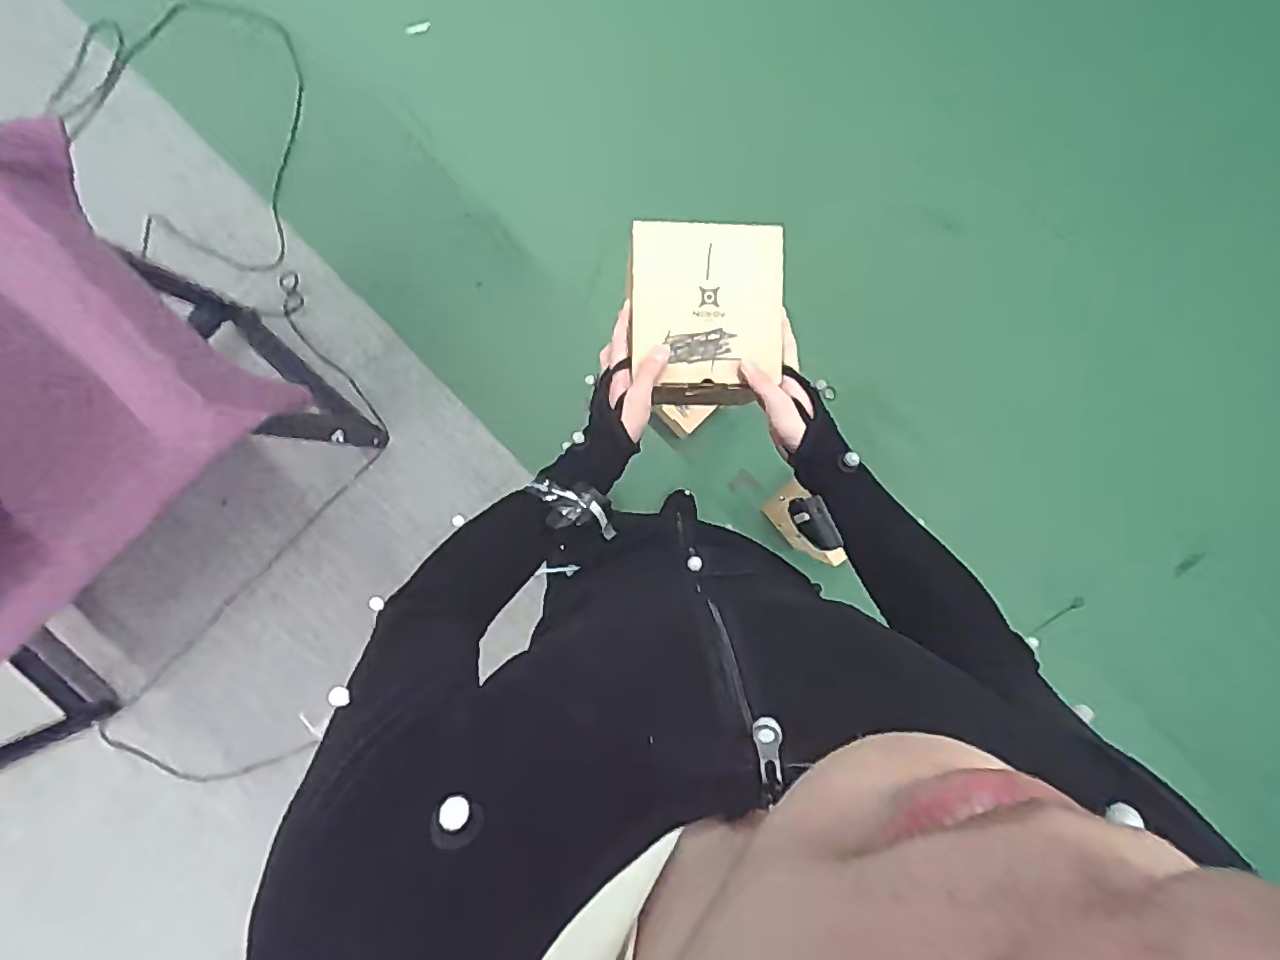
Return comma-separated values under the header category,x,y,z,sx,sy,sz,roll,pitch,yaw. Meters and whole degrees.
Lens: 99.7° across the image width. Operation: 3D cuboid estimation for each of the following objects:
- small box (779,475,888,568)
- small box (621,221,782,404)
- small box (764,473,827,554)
category,x,y,z,sx,sy,sz,roll,pitch,yaw
small box,0.492,0.100,1.402,0.179,0.176,0.168,-39,91,-1
small box,0.064,-0.186,0.651,0.168,0.176,0.179,0,90,-4
small box,0.487,0.093,1.567,0.179,0.176,0.168,-40,92,-1
